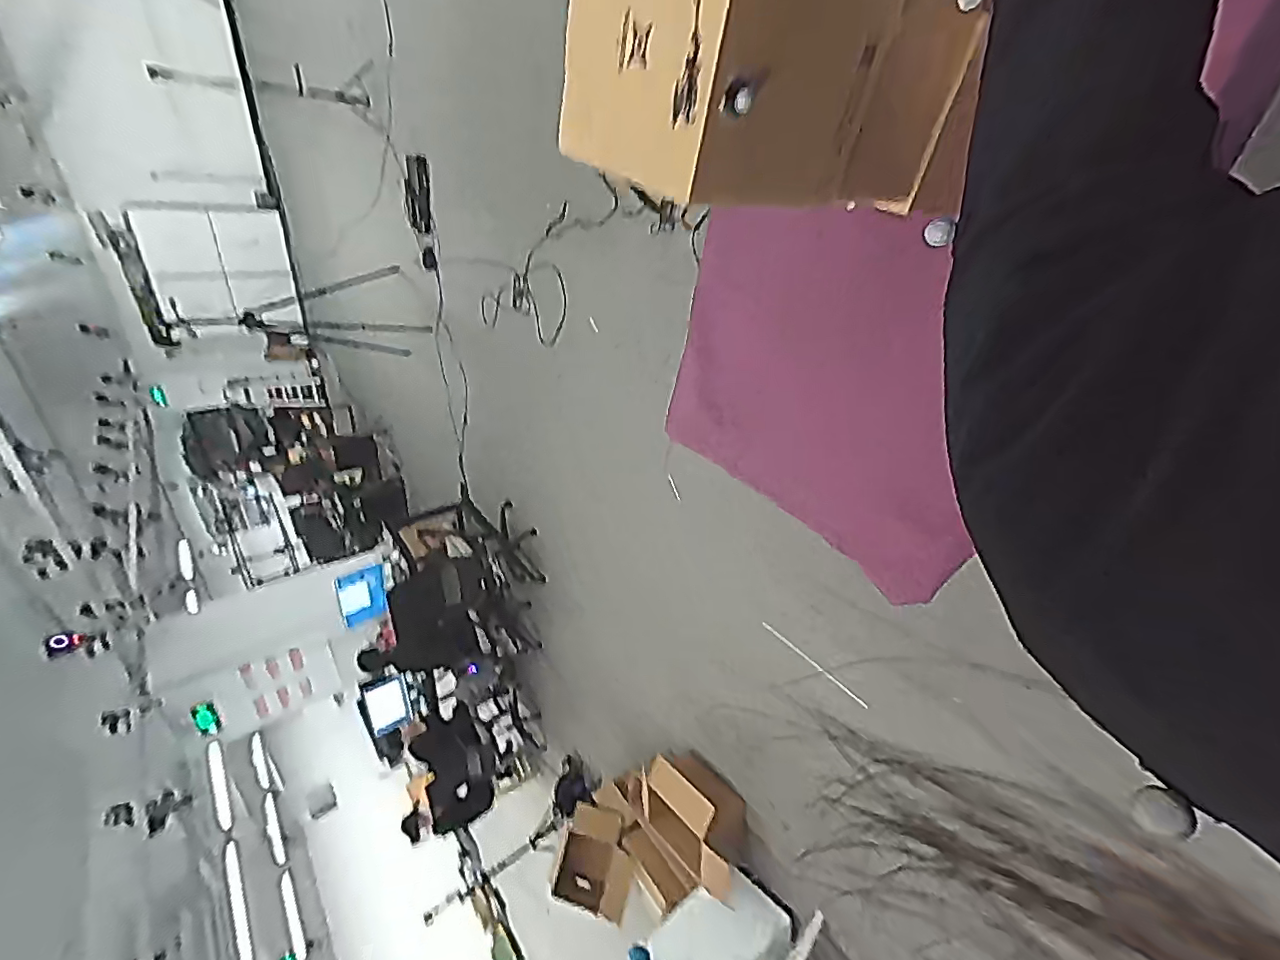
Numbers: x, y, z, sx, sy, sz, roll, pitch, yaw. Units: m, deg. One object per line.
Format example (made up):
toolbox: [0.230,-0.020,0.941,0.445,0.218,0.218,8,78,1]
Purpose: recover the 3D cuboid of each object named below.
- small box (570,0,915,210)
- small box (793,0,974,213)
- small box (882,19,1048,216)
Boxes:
small box: [0.067,-0.317,0.420,0.179,0.176,0.168,44,138,36]
small box: [0.182,-0.372,0.526,0.168,0.176,0.179,41,136,37]
small box: [0.309,-0.409,0.619,0.179,0.176,0.168,42,137,35]
